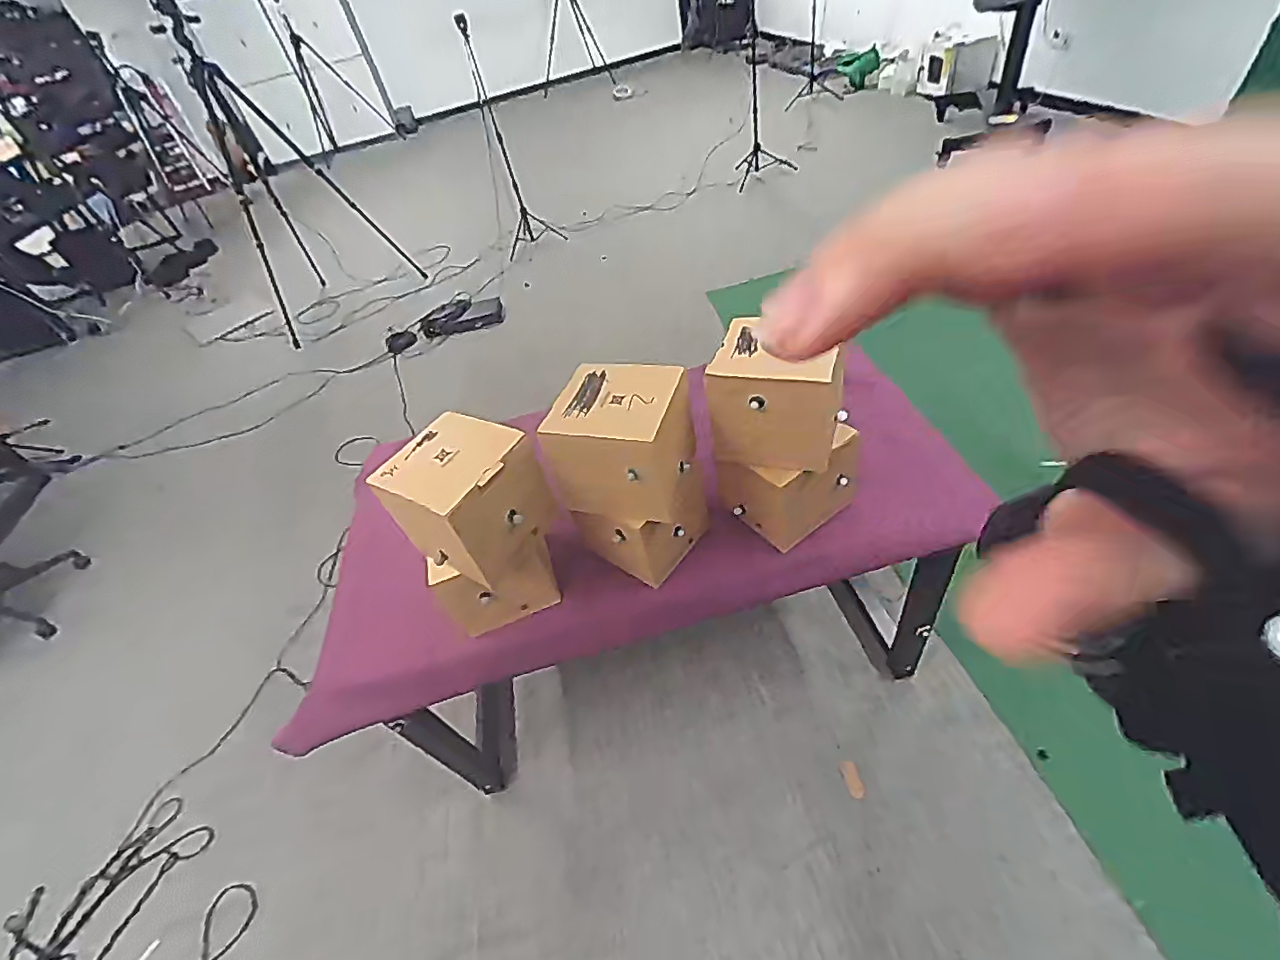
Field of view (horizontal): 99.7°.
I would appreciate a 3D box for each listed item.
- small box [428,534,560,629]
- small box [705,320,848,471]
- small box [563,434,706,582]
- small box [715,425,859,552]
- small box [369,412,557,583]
[{"bbox_3d":[-0.252,0.135,0.939,0.168,0.176,0.179,-21,44,-6],"label":"small box"},{"bbox_3d":[0.216,-0.133,0.843,0.179,0.176,0.168,9,48,24],"label":"small box"},{"bbox_3d":[0.000,0.053,0.949,0.179,0.176,0.168,25,56,34],"label":"small box"},{"bbox_3d":[0.253,-0.011,0.947,0.179,0.176,0.168,-33,45,-16],"label":"small box"},{"bbox_3d":[-0.251,0.028,0.809,0.179,0.176,0.168,18,52,29],"label":"small box"}]
